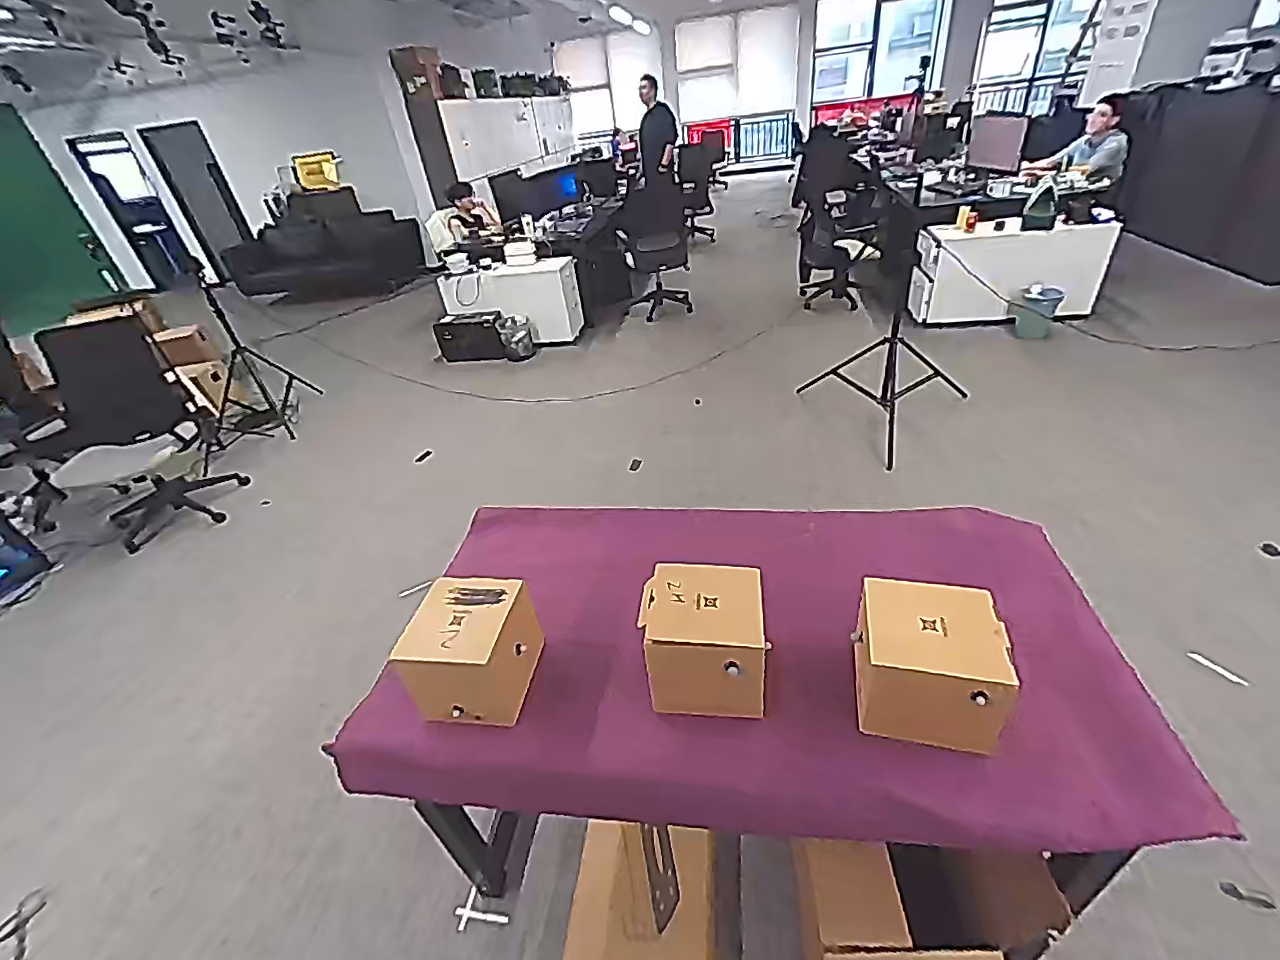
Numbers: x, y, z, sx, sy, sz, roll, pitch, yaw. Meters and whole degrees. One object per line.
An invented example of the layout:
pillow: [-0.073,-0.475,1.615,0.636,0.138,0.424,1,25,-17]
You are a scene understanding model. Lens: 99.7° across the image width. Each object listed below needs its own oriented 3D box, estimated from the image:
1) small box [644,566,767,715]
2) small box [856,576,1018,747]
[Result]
small box: [0.110,0.258,0.876,0.179,0.176,0.168,-1,33,10]
small box: [0.420,0.266,0.801,0.179,0.176,0.168,3,36,16]
